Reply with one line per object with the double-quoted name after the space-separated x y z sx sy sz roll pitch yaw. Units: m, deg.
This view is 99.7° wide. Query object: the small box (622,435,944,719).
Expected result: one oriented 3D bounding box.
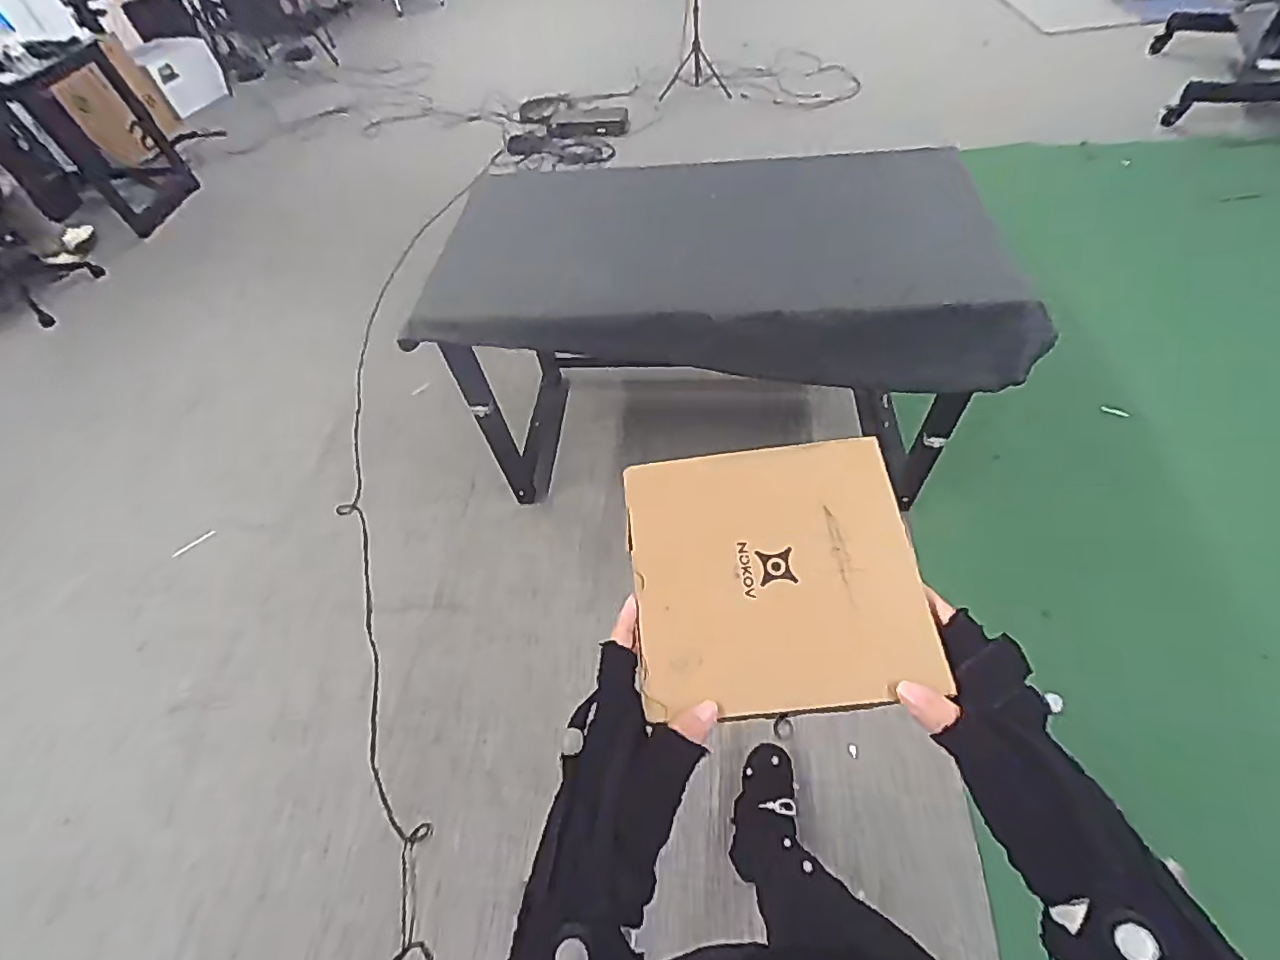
0.089 0.086 0.415 0.179 0.176 0.168 -7 65 2 "small box"
